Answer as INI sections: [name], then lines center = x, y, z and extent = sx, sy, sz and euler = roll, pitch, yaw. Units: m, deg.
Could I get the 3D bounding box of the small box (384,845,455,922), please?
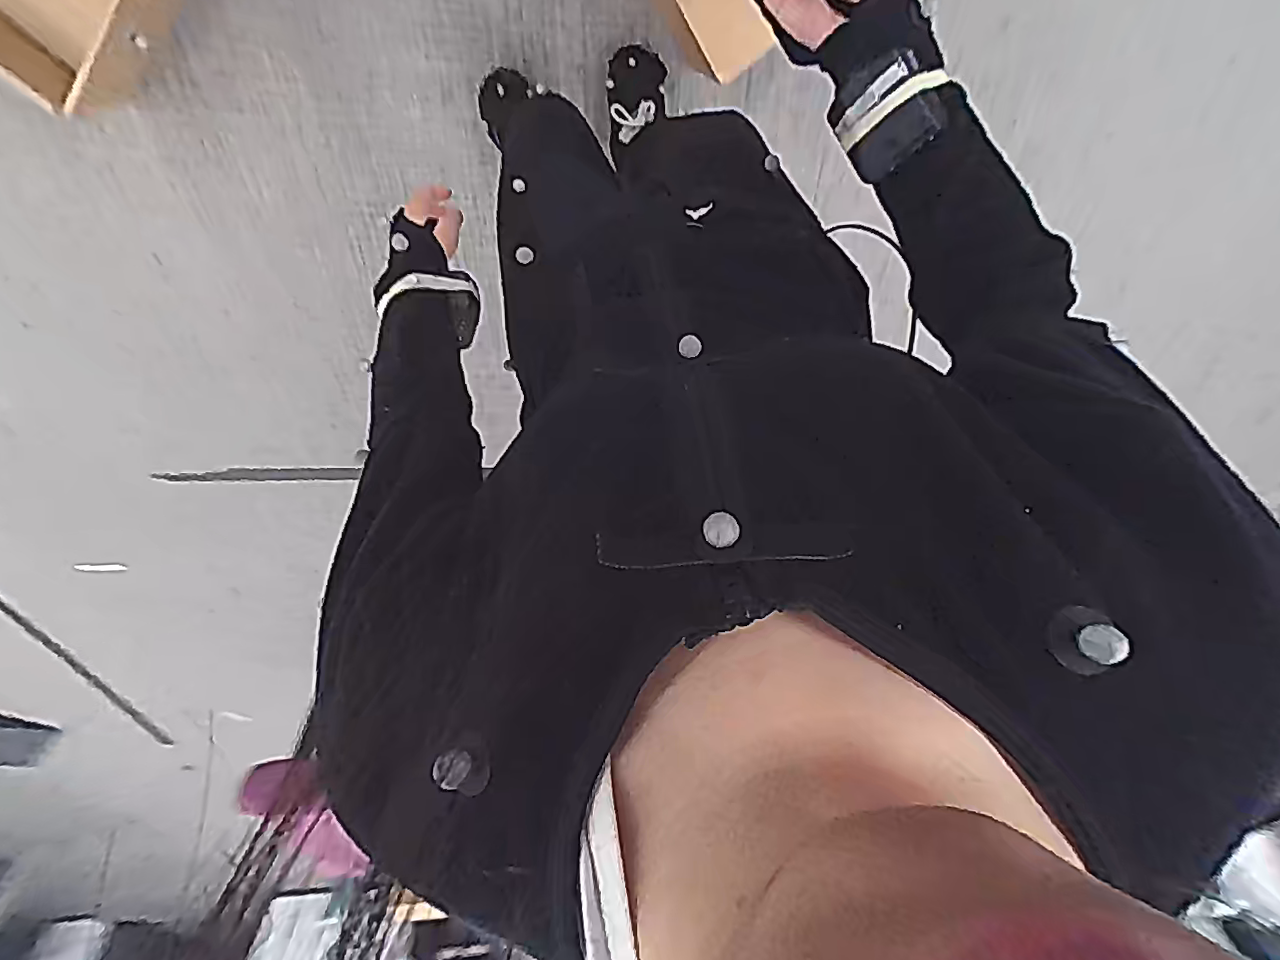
[small box]
center = -0.717, 1.327, 1.782
extent = 0.168, 0.176, 0.179
euler = -1, 129, -6
